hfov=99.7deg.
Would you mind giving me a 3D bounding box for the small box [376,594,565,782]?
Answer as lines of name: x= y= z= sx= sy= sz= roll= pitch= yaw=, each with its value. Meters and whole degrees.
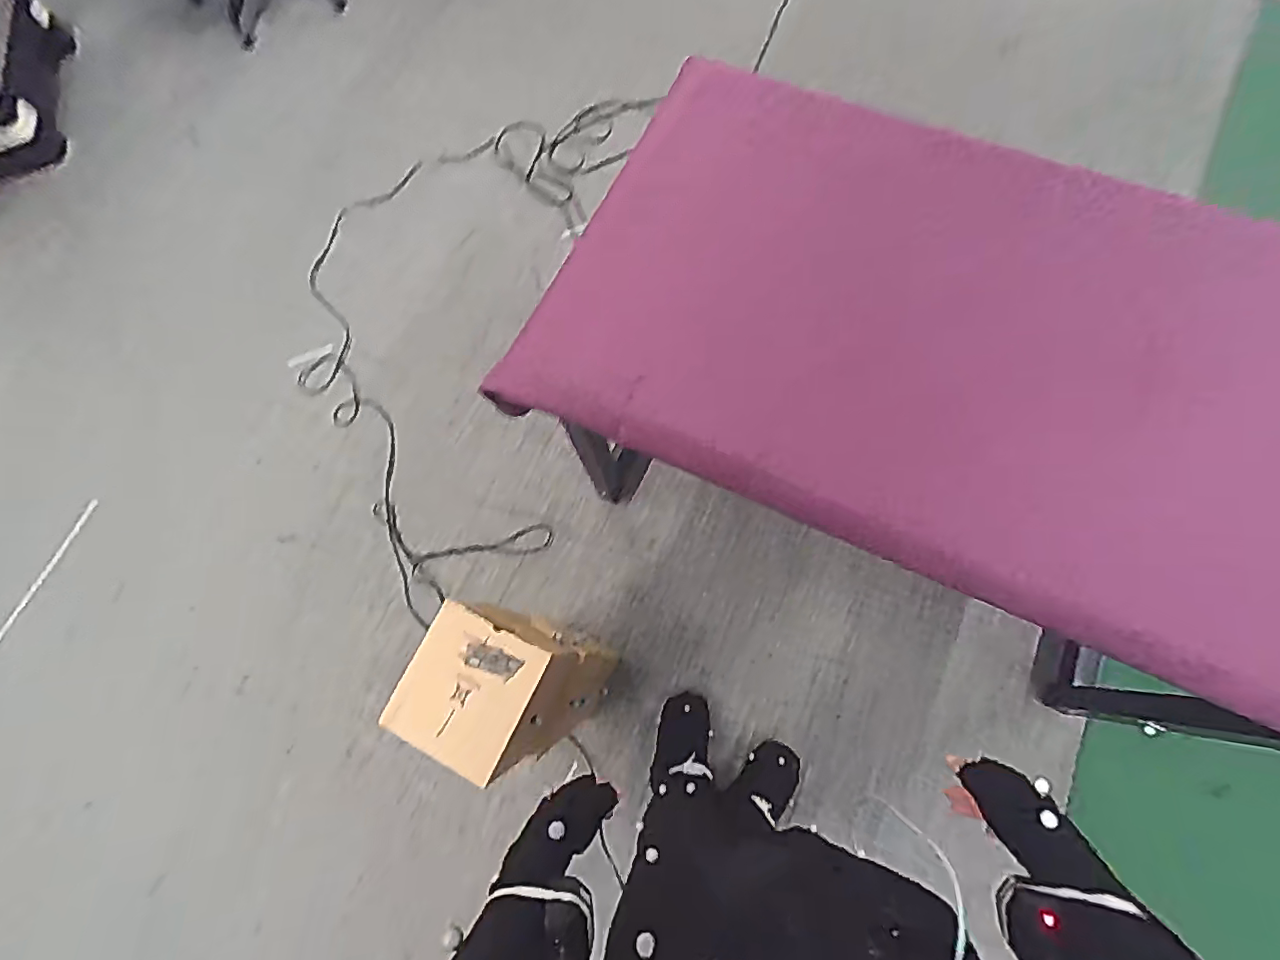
small box: x=-0.221 y=0.279 z=0.765 sx=0.168 sy=0.176 sz=0.179 roll=26 pitch=79 yaw=11
